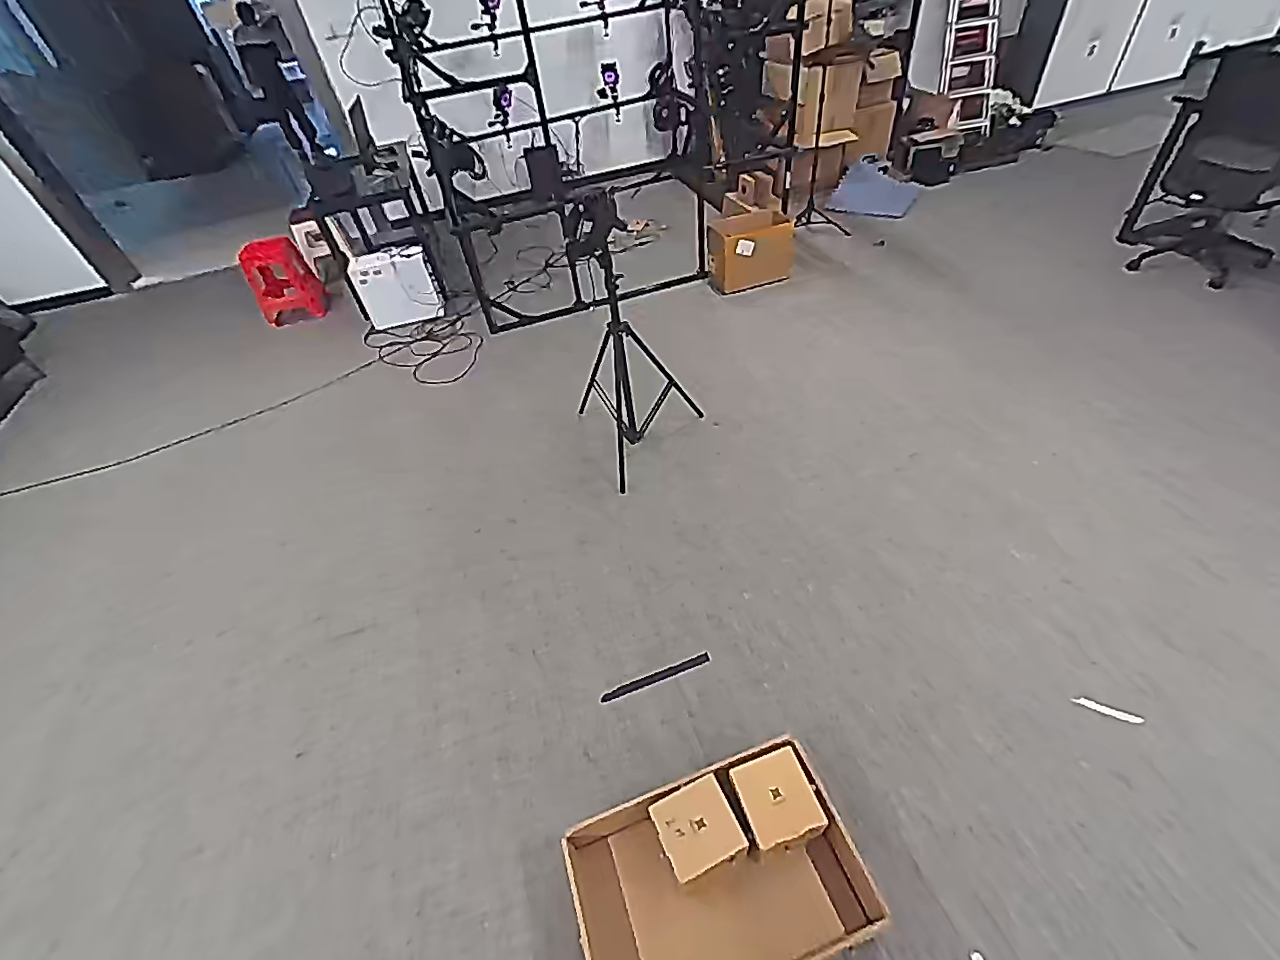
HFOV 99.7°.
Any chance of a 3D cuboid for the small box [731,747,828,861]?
[{"bbox_3d":[0.325,0.784,1.306,0.168,0.176,0.179,-18,48,-8],"label":"small box"}]
